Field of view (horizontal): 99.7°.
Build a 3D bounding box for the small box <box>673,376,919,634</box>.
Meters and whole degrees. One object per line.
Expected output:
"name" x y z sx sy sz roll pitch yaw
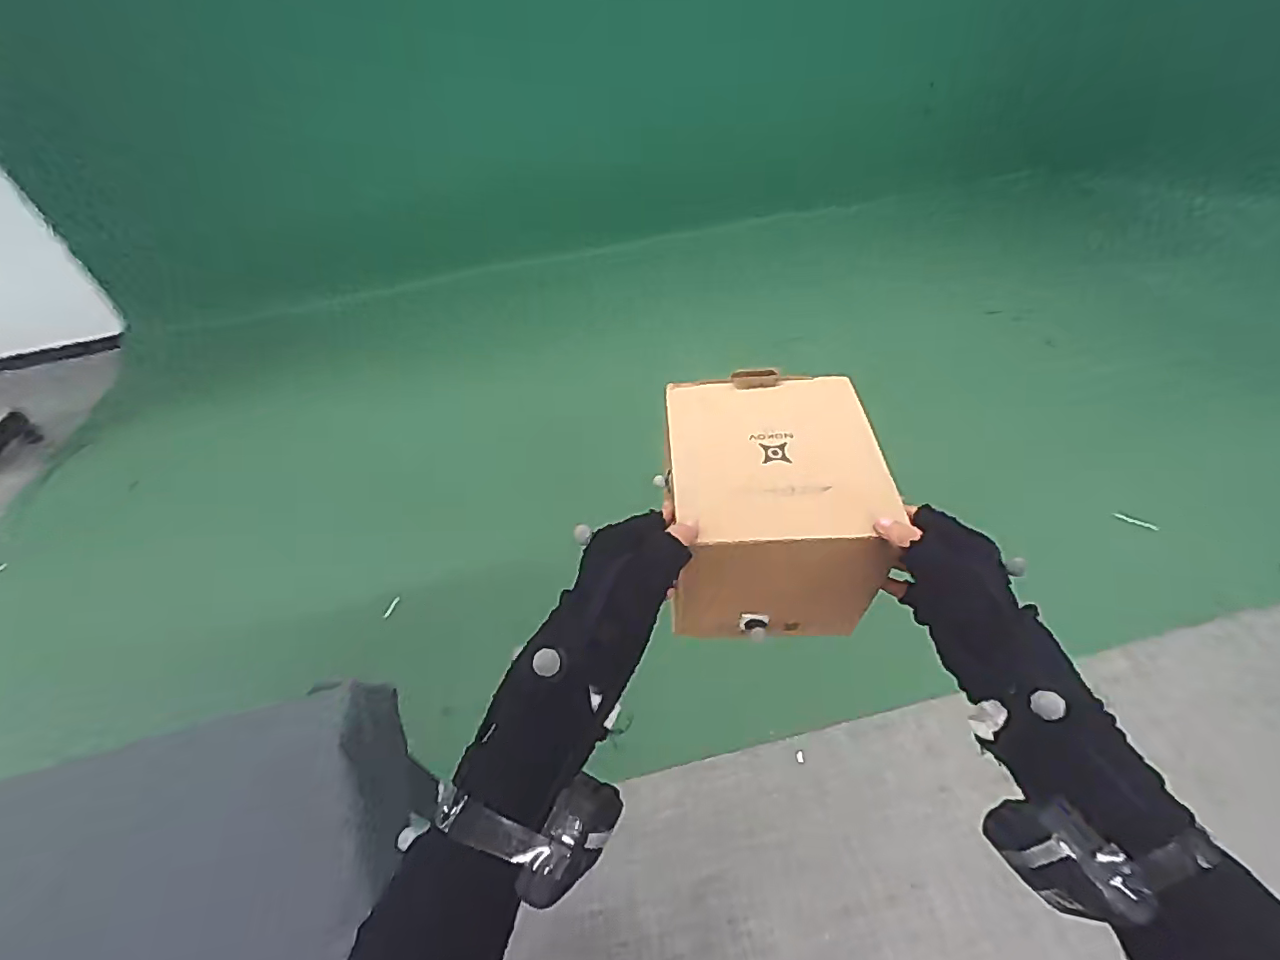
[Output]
"small box" 0.117 0.026 0.496 0.168 0.176 0.179 -2 52 1
